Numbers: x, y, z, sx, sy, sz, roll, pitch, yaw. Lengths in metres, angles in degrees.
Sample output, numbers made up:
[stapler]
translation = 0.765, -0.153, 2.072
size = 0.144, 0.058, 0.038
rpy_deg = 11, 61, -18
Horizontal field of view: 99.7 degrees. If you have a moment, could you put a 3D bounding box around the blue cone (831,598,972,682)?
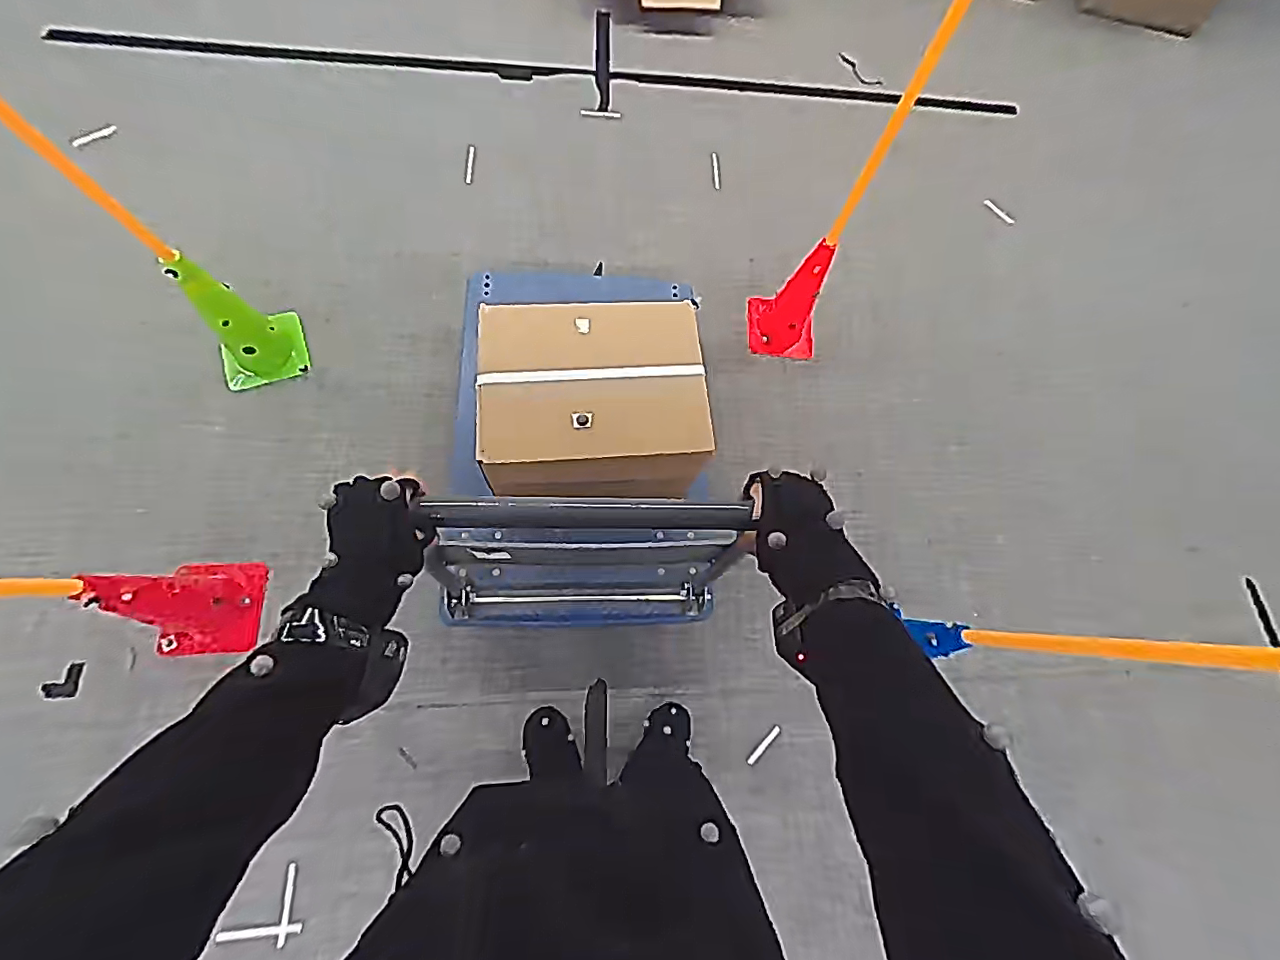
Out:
[blue cone]
translation = 0.600, 0.343, 1.199
size = 0.193, 0.380, 0.192
rpy_deg = -4, 70, -8

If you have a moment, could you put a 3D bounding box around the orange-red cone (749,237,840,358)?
[orange-red cone]
translation = 0.447, -0.515, 1.464
size = 0.199, 0.360, 0.198
rpy_deg = 7, 71, -5
